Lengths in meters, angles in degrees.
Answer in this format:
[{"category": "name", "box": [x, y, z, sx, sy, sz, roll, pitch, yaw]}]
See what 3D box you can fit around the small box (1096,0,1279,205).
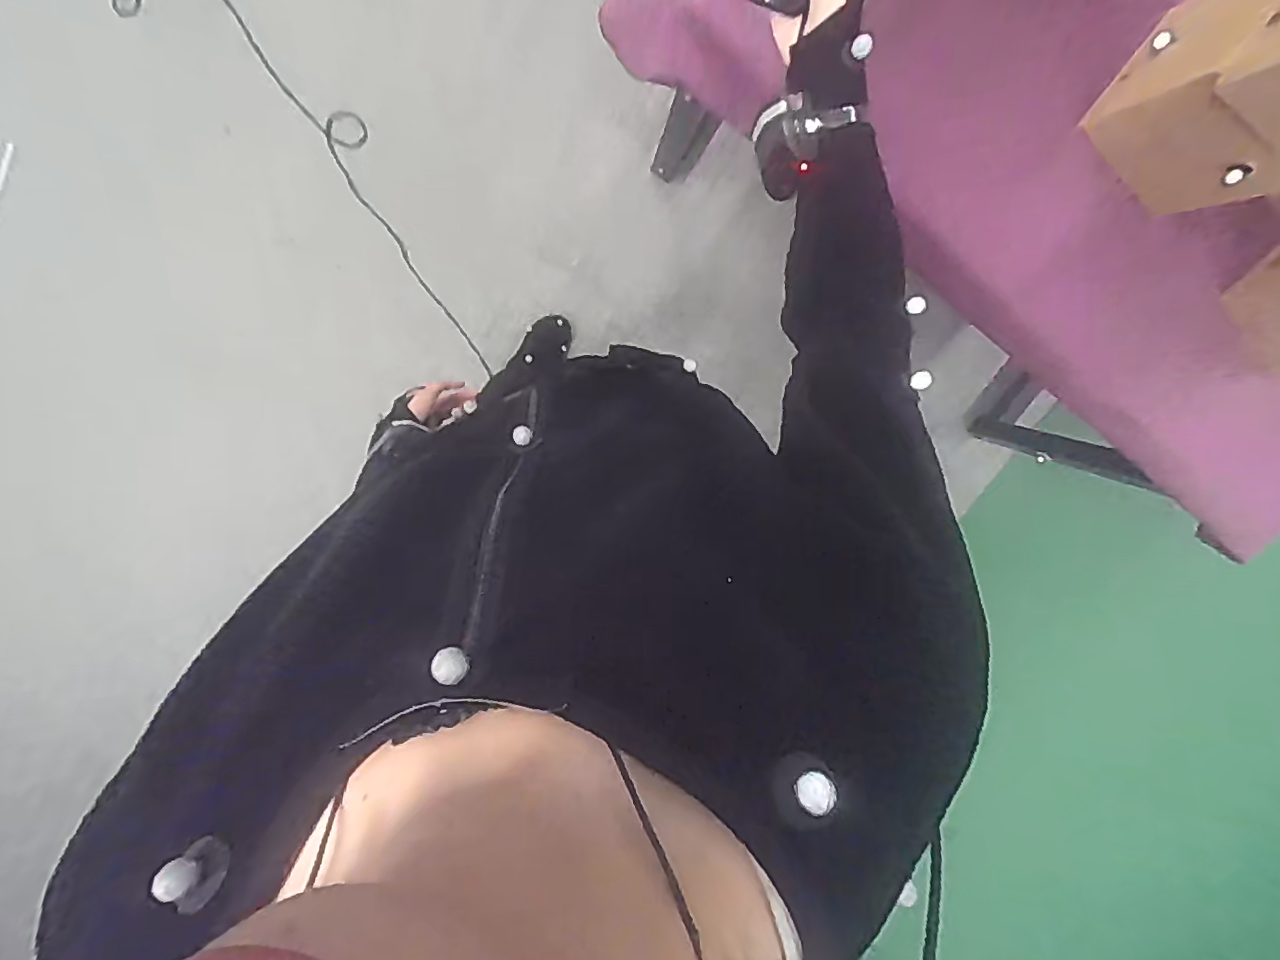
[{"category": "small box", "box": [0.683, -0.437, 0.601, 0.179, 0.176, 0.168, 35, 100, -12]}]
